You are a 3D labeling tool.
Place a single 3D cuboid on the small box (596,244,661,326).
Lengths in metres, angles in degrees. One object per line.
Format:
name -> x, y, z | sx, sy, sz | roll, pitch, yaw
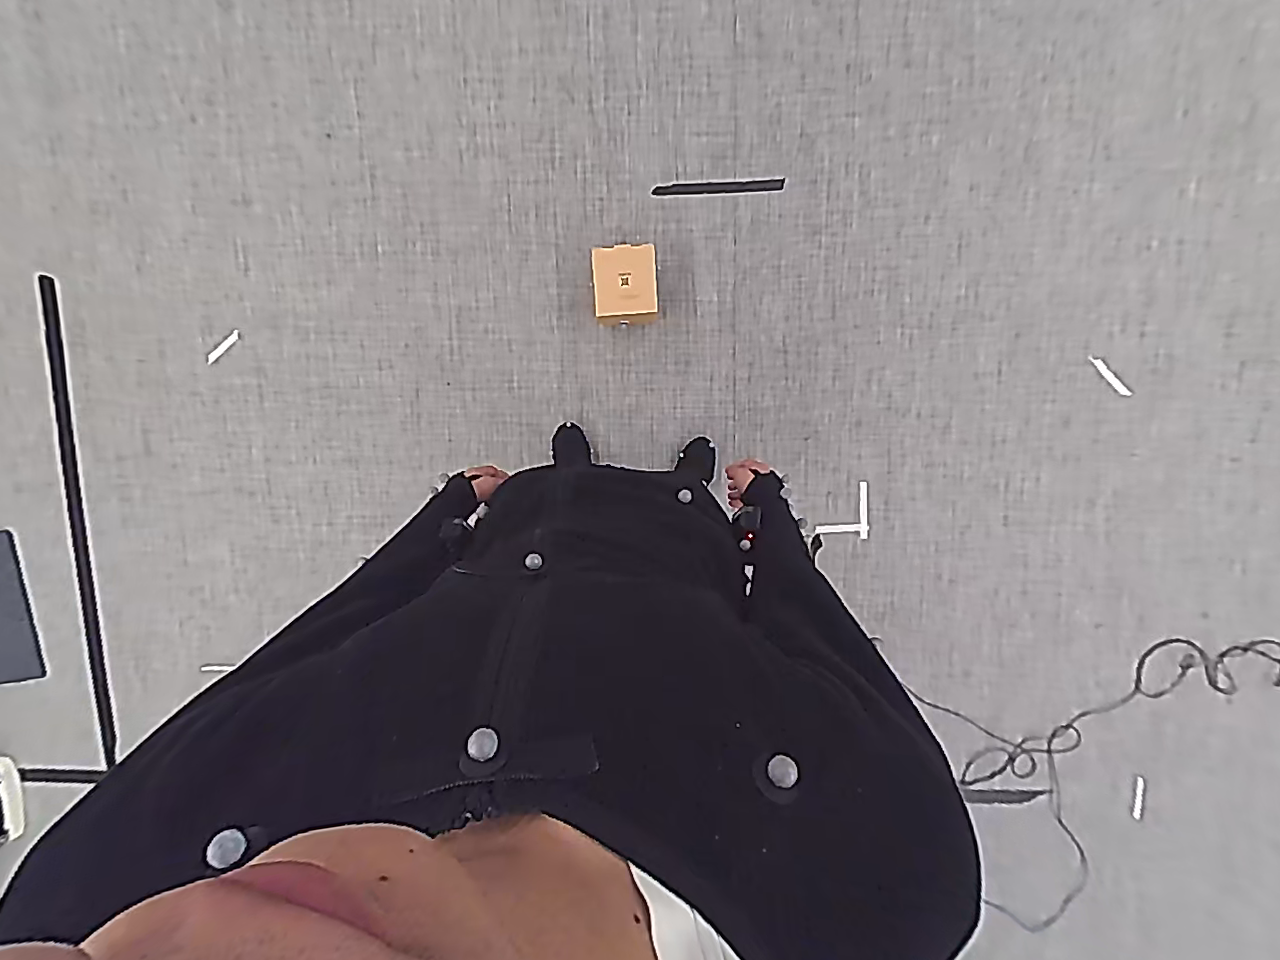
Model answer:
small box -> -0.028, -0.530, 1.487 | 0.168, 0.176, 0.179 | -3, 97, 3
